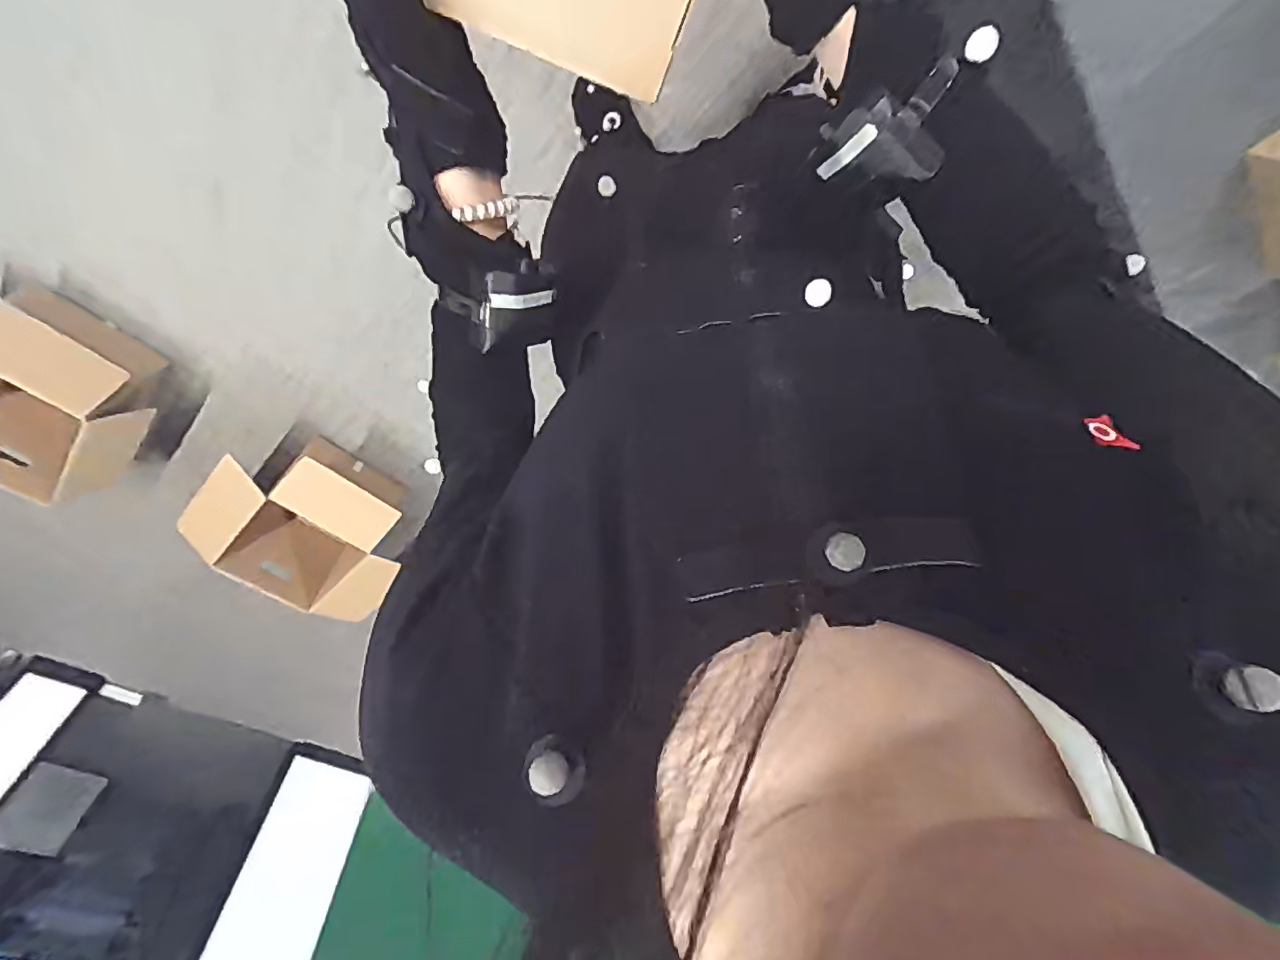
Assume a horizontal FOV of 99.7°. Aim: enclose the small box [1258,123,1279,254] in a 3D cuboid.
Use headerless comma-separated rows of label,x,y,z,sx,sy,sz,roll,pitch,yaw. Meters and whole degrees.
small box,0.741,-0.286,0.492,0.168,0.176,0.179,-36,121,26
